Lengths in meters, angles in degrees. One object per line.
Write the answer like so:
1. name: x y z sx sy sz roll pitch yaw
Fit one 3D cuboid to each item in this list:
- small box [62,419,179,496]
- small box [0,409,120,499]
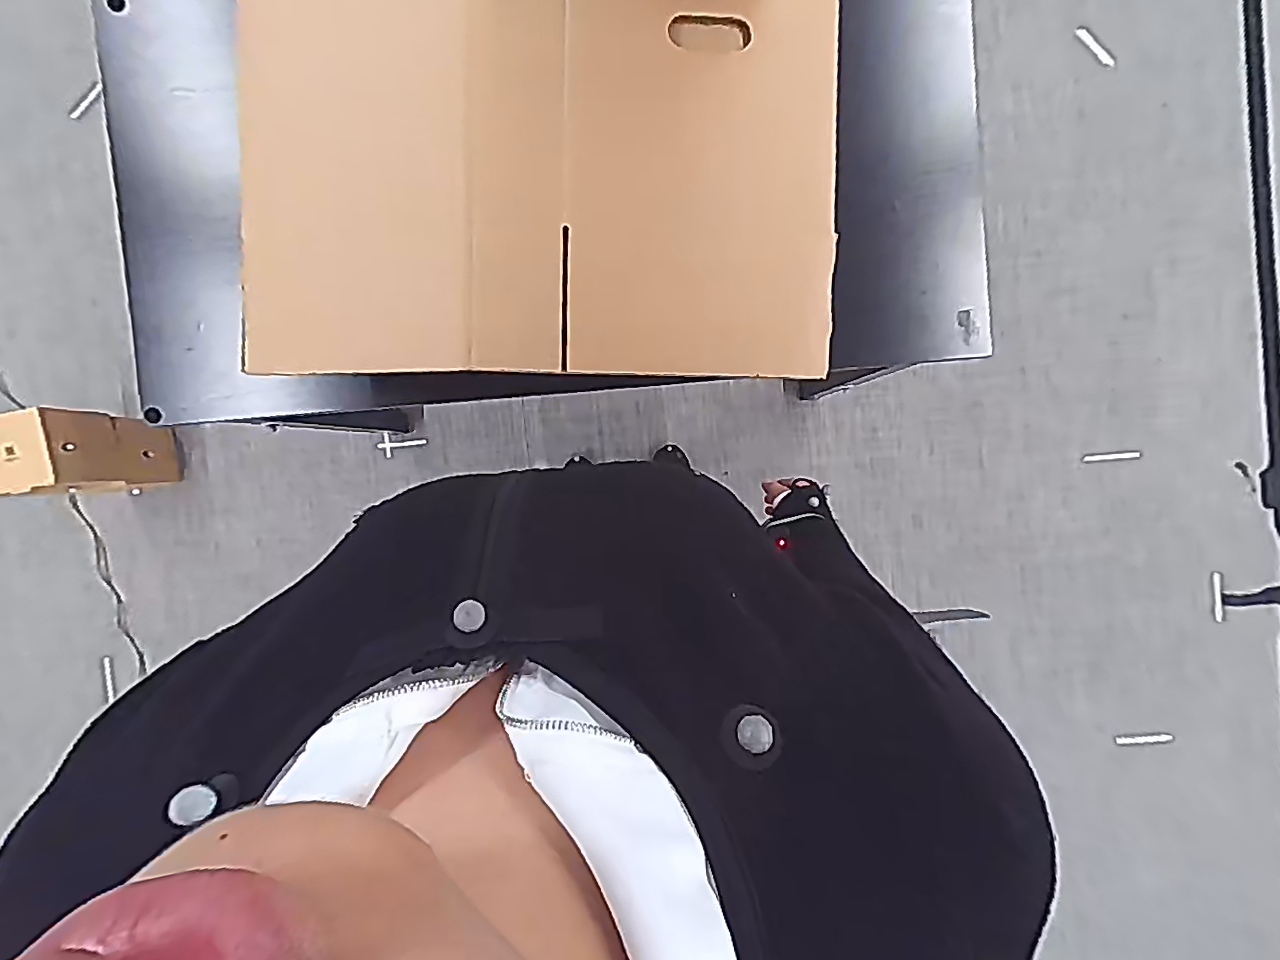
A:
1. small box: -1.374 -0.058 1.424 0.168 0.176 0.179 -9 93 1
2. small box: -1.377 -0.058 1.261 0.168 0.176 0.179 -12 91 0
